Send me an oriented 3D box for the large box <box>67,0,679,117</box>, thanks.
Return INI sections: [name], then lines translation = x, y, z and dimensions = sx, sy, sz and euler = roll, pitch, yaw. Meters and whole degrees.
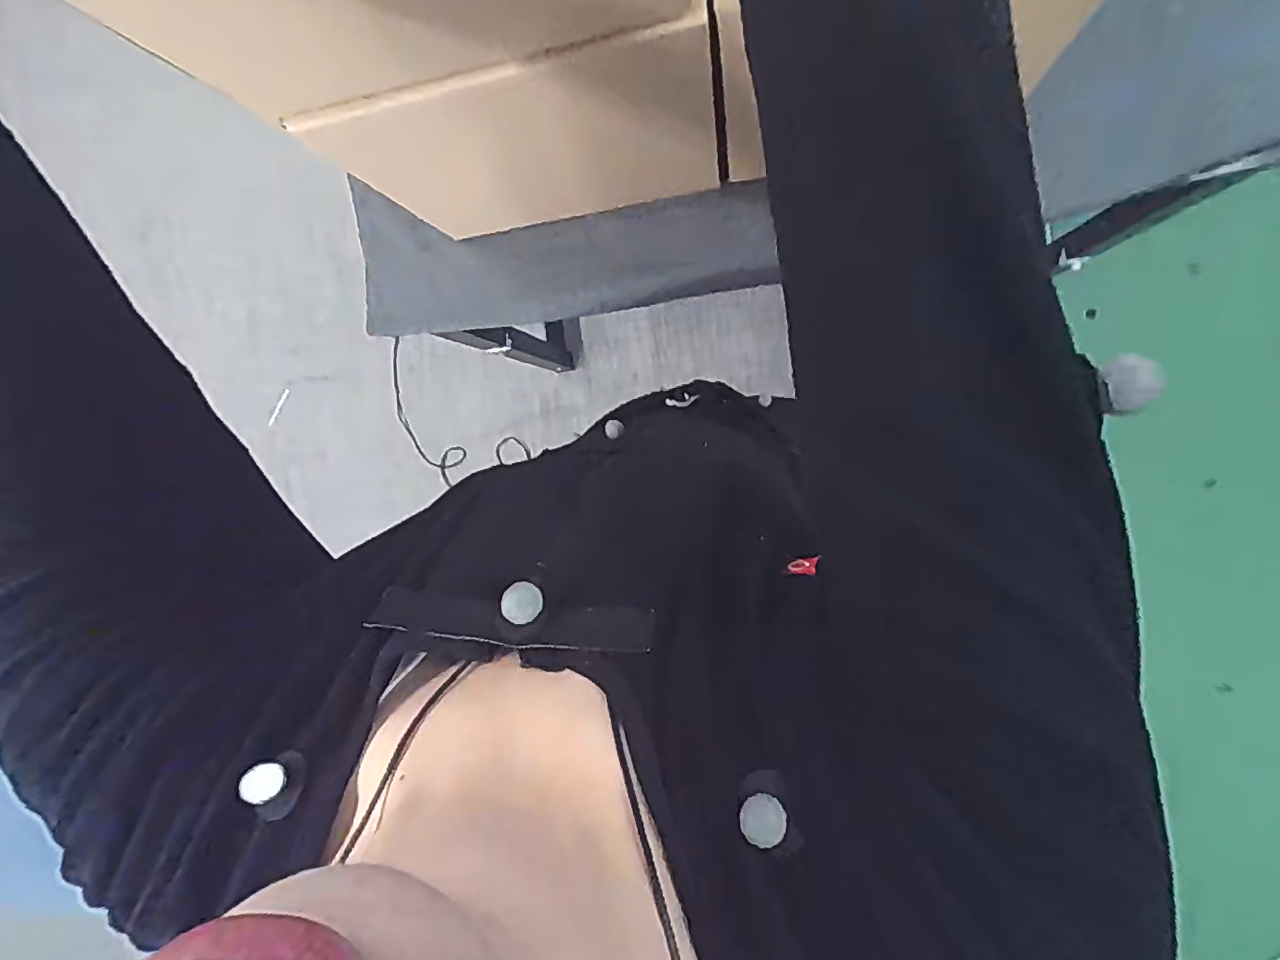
[large box]
translation = -0.195, -0.480, 0.305
dimensions = 0.408, 0.320, 0.320
euler = -6, 98, 12
